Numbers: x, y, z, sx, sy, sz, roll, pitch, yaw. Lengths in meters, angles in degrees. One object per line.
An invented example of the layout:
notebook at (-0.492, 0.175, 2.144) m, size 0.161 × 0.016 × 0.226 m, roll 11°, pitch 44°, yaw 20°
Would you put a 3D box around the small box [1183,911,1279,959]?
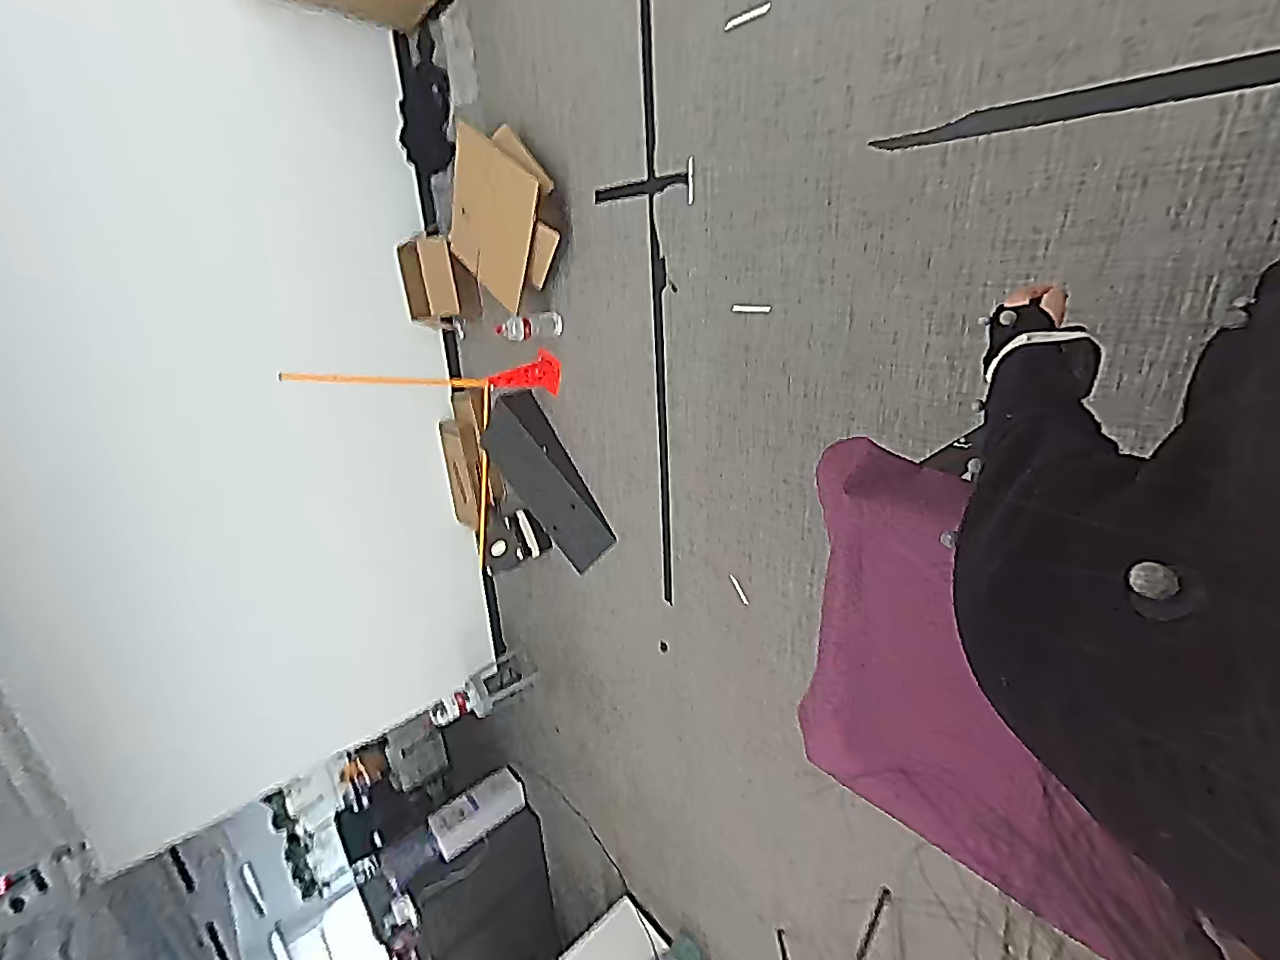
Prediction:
small box at (0.707, 0.636, 0.588) m, size 0.168 × 0.176 × 0.179 m, roll 24°, pitch 122°, yaw 43°
